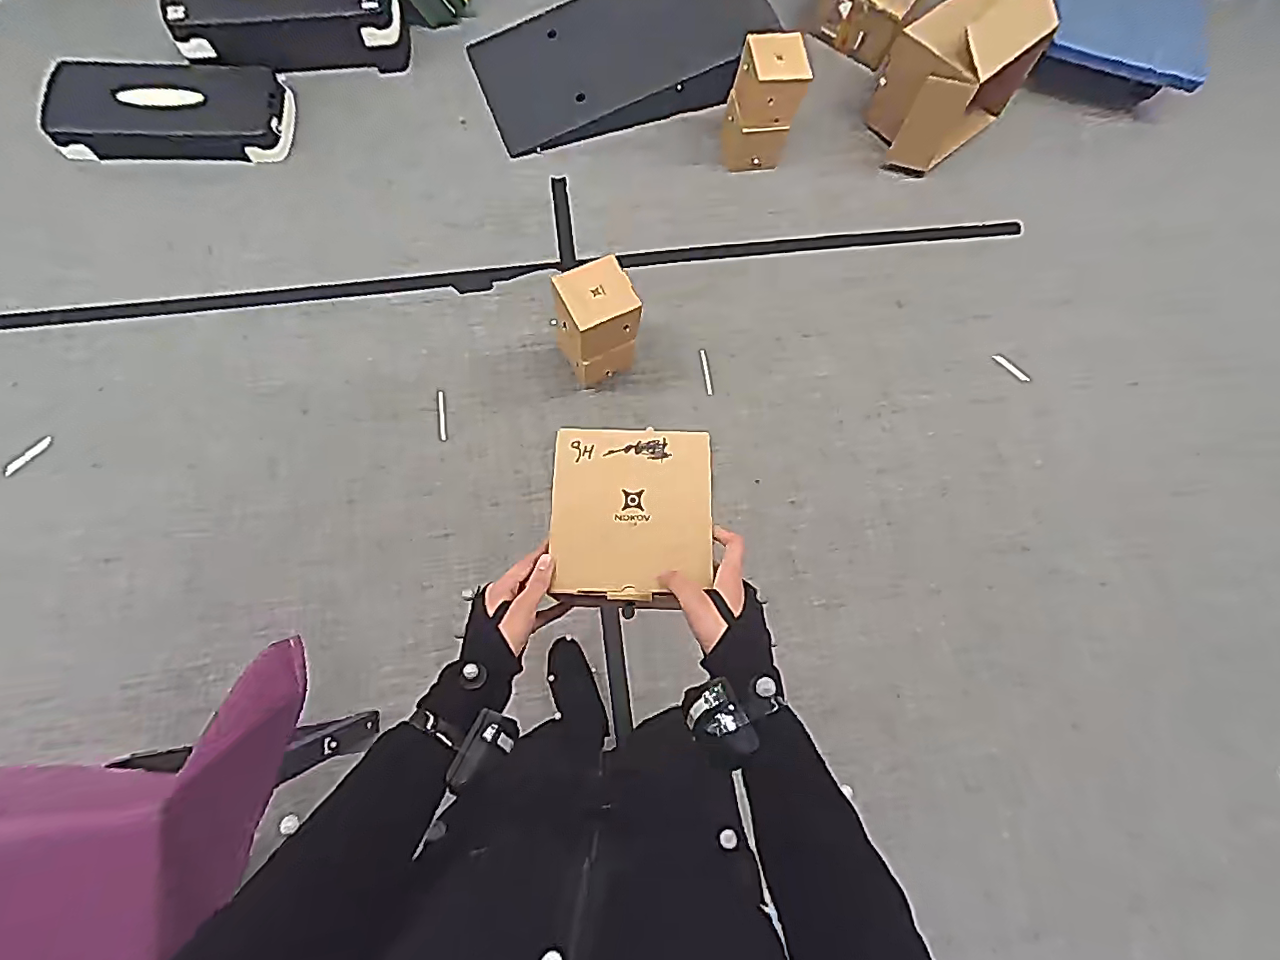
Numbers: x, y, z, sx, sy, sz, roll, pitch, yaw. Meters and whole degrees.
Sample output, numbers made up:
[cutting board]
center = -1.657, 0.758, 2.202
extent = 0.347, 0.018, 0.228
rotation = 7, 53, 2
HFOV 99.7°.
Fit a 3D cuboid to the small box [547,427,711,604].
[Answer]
[small box]
center = -0.009, 0.051, 0.637
extent = 0.168, 0.176, 0.179
rotation = 2, 73, -1
